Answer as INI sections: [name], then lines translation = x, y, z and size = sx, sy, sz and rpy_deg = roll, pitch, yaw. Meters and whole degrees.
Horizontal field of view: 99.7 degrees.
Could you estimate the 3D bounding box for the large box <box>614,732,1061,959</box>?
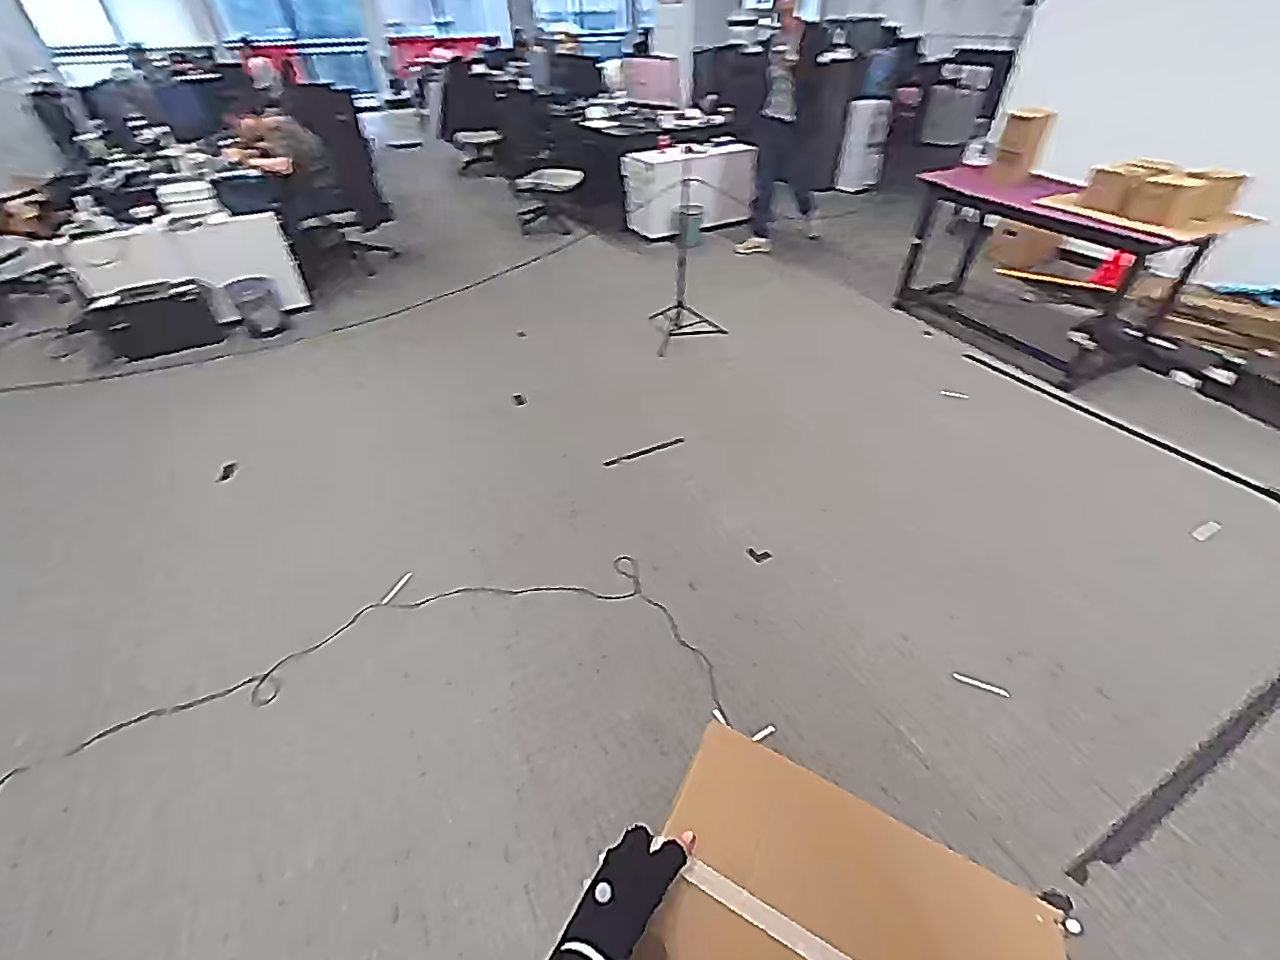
[large box]
translation = 0.191, 0.587, 0.646
size = 0.408, 0.320, 0.320
rpy_deg = 24, 51, 18
